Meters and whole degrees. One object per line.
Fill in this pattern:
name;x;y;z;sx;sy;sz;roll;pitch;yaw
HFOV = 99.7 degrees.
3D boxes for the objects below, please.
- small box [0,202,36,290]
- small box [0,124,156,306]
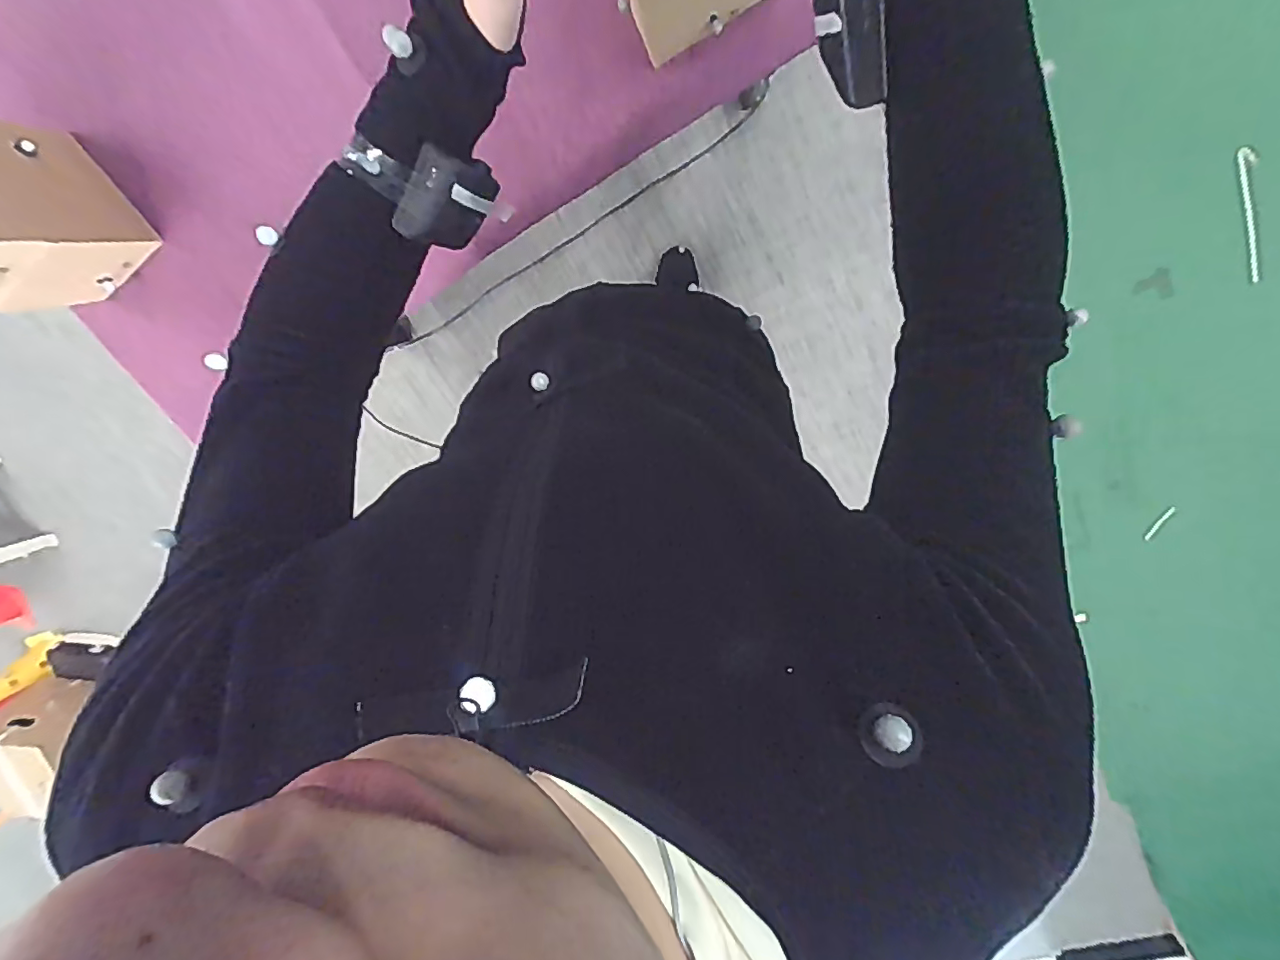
small box;-0.861;-0.292;0.594;0.168;0.176;0.179;-29;109;18
small box;-0.846;-0.358;0.743;0.168;0.176;0.179;-28;109;18
